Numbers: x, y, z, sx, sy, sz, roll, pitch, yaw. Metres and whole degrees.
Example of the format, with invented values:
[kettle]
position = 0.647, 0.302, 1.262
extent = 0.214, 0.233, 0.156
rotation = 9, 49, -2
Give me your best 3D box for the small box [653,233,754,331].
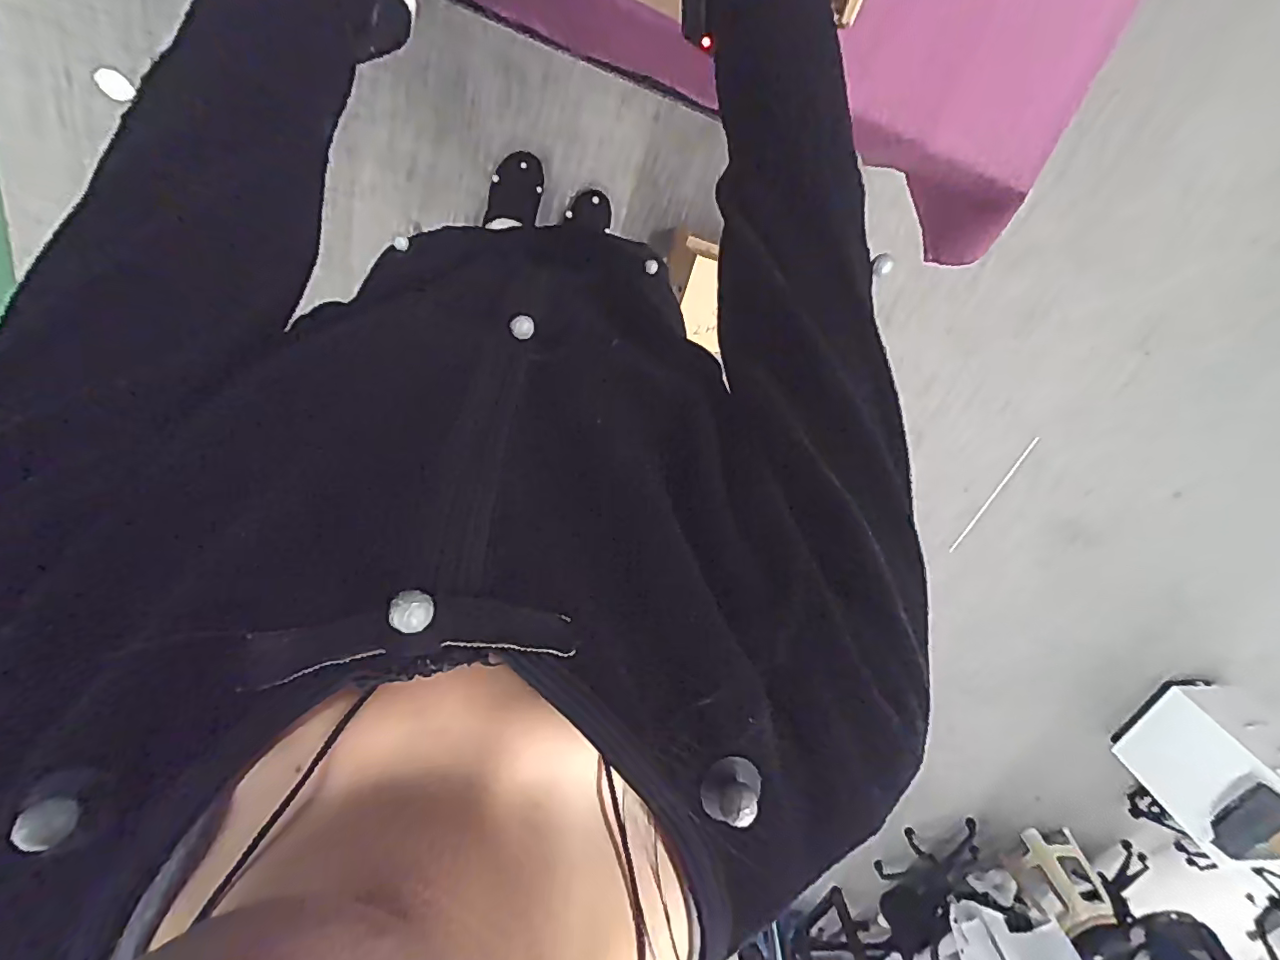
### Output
[small box]
position = 0.146, -0.485, 1.310
extent = 0.179, 0.176, 0.168
rotation = 13, 118, -15
